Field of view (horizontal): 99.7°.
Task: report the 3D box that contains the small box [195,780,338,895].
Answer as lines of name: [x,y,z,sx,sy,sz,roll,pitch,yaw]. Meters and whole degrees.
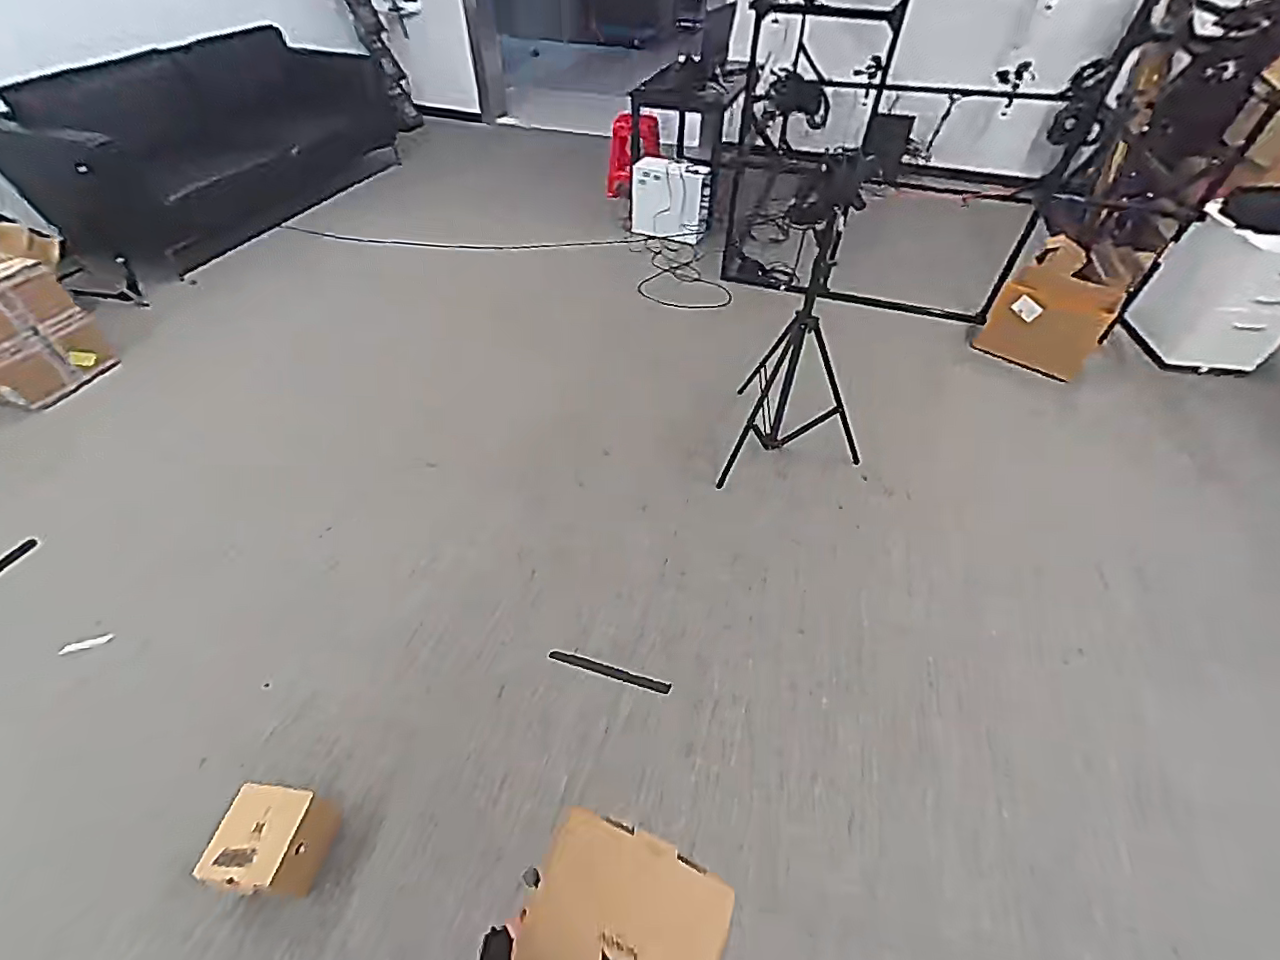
small box: [-0.808,0.794,1.196,0.168,0.176,0.179,6,46,4]

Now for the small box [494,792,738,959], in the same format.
small box: [-0.032,0.420,0.505,0.168,0.176,0.179,24,59,5]
